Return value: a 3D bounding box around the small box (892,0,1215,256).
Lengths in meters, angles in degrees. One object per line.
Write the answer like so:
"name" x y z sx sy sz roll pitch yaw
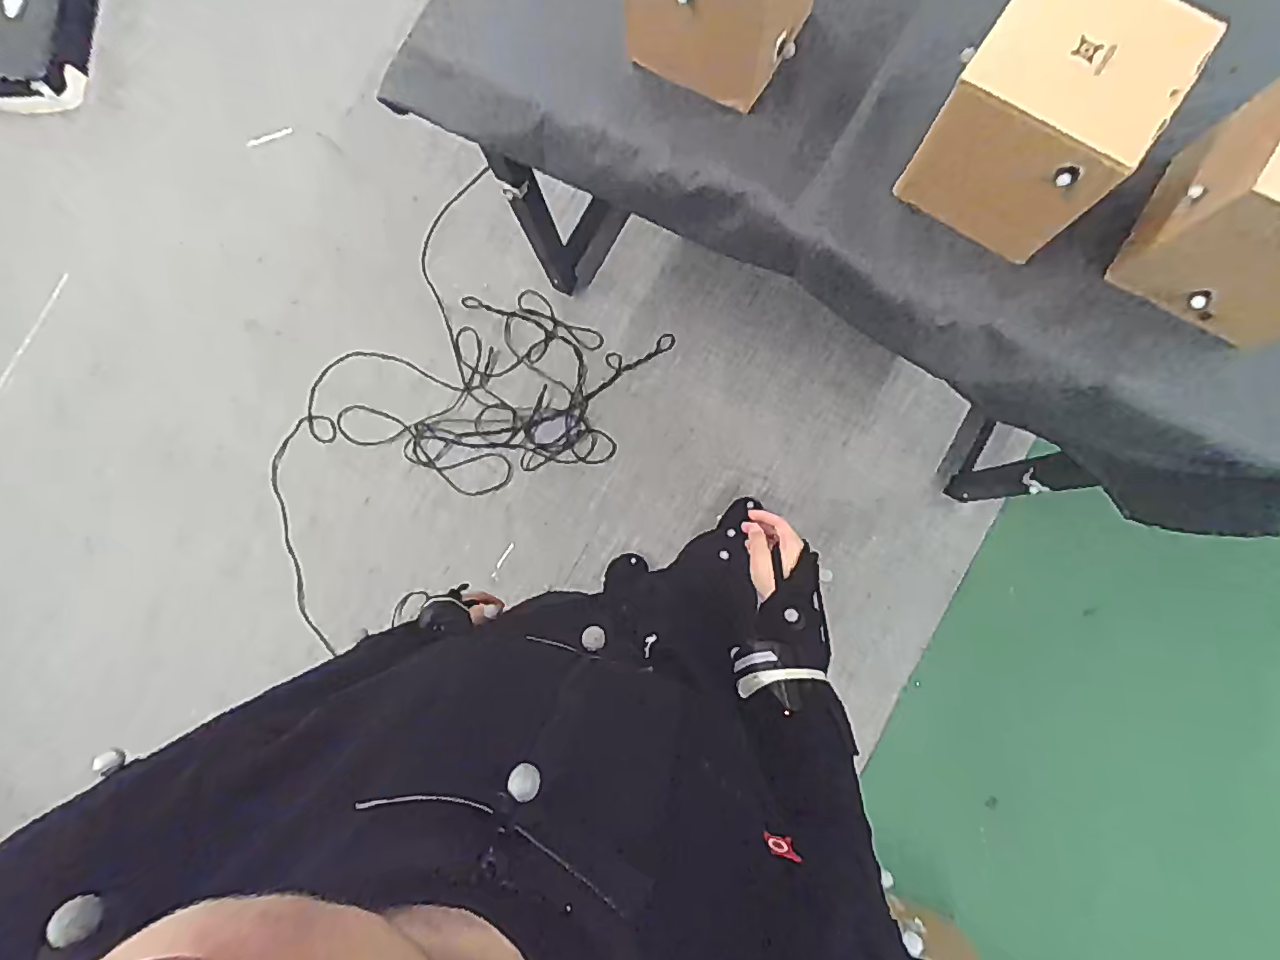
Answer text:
"small box" 0.405 -0.373 0.567 0.179 0.176 0.168 34 86 6

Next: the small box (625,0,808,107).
"small box" 0.091 -0.572 0.606 0.179 0.176 0.168 30 87 5
